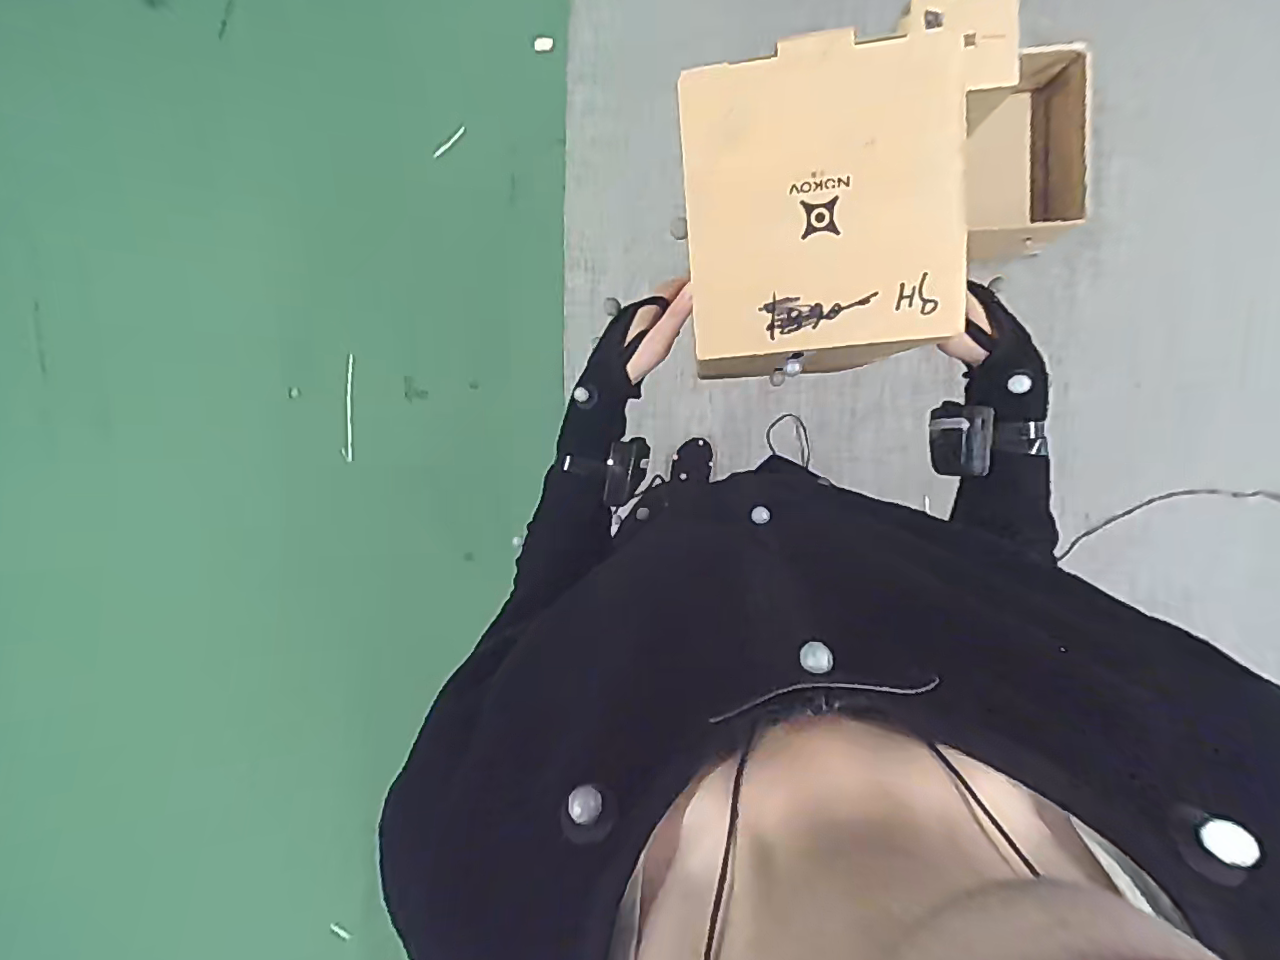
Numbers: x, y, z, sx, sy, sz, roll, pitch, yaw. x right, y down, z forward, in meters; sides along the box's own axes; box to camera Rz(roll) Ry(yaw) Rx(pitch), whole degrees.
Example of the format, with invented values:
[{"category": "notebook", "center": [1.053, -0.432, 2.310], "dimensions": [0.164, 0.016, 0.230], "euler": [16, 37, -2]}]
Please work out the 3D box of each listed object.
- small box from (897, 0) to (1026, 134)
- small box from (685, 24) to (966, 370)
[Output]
[{"category": "small box", "center": [0.554, -0.743, 0.975], "dimensions": [0.179, 0.176, 0.168], "euler": [-3, 94, 6]}, {"category": "small box", "center": [0.123, -0.183, 0.410], "dimensions": [0.168, 0.176, 0.179], "euler": [-3, 97, 9]}]
